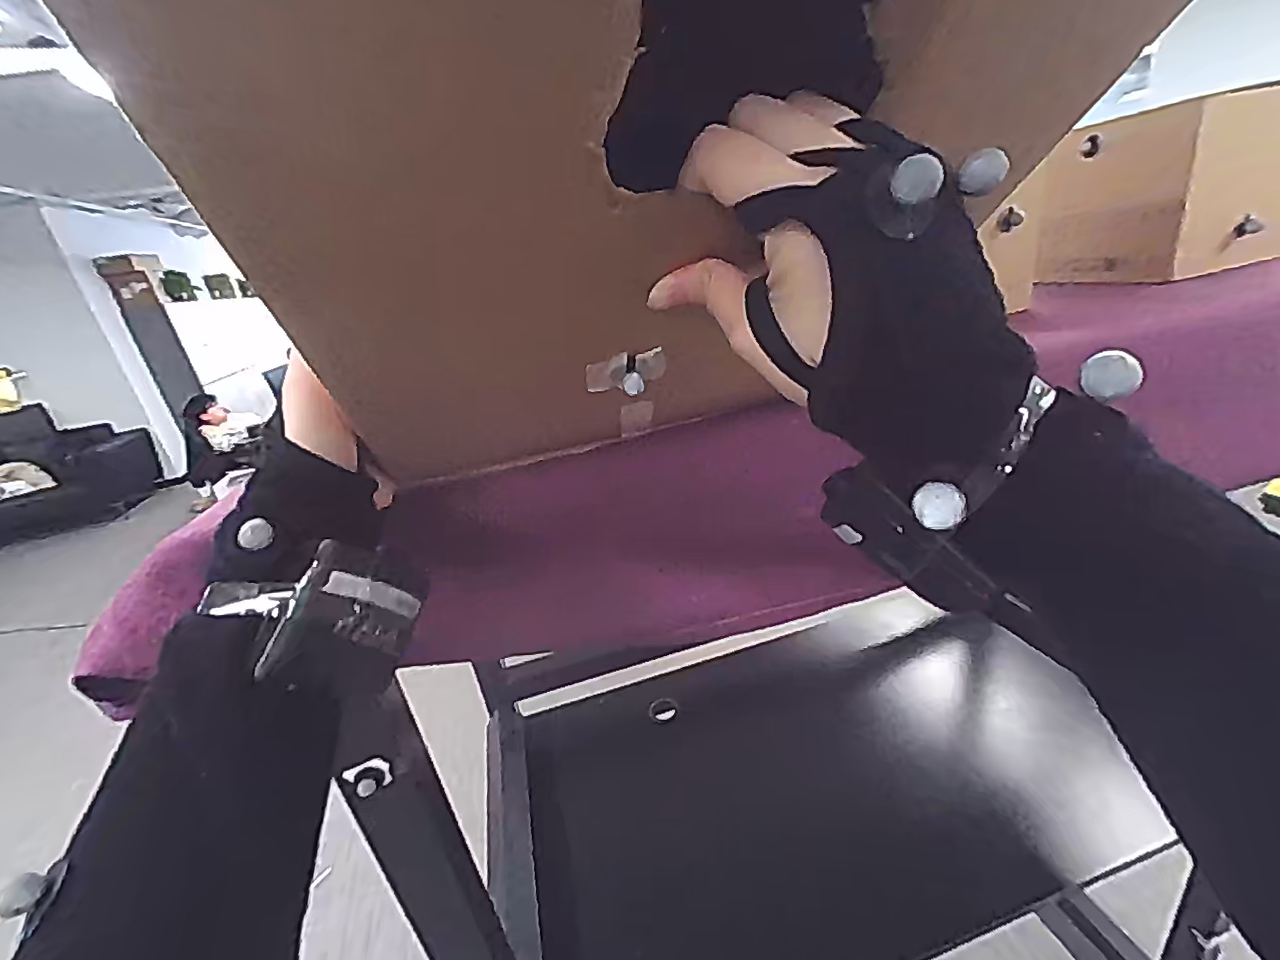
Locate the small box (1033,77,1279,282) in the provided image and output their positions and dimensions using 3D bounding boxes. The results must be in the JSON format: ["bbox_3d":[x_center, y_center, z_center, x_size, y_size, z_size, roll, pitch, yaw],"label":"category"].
[{"bbox_3d":[0.584,-0.325,0.609,0.179,0.176,0.168,-14,22,-11],"label":"small box"}]
